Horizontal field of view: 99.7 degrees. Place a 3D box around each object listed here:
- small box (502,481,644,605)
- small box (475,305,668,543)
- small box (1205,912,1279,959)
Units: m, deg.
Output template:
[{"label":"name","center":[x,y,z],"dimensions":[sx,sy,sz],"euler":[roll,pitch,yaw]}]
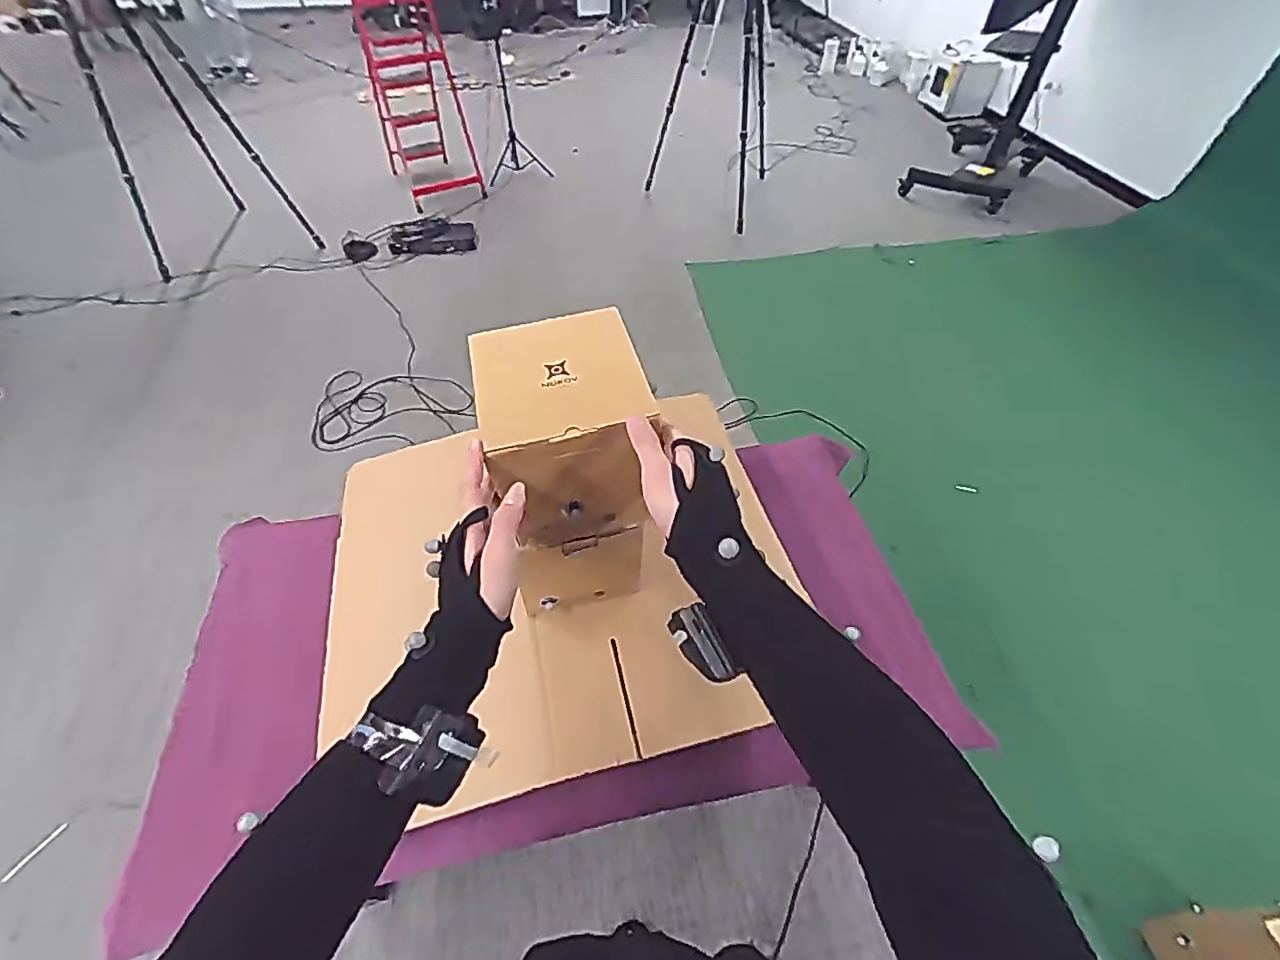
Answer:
[{"label":"small box","center":[-0.094,0.058,0.756],"dimensions":[0.168,0.176,0.179],"euler":[-10,51,-11]},{"label":"small box","center":[-0.072,-0.058,0.590],"dimensions":[0.168,0.176,0.179],"euler":[-13,55,-7]},{"label":"small box","center":[1.245,0.919,1.006],"dimensions":[0.179,0.176,0.168],"euler":[-6,50,-5]}]
